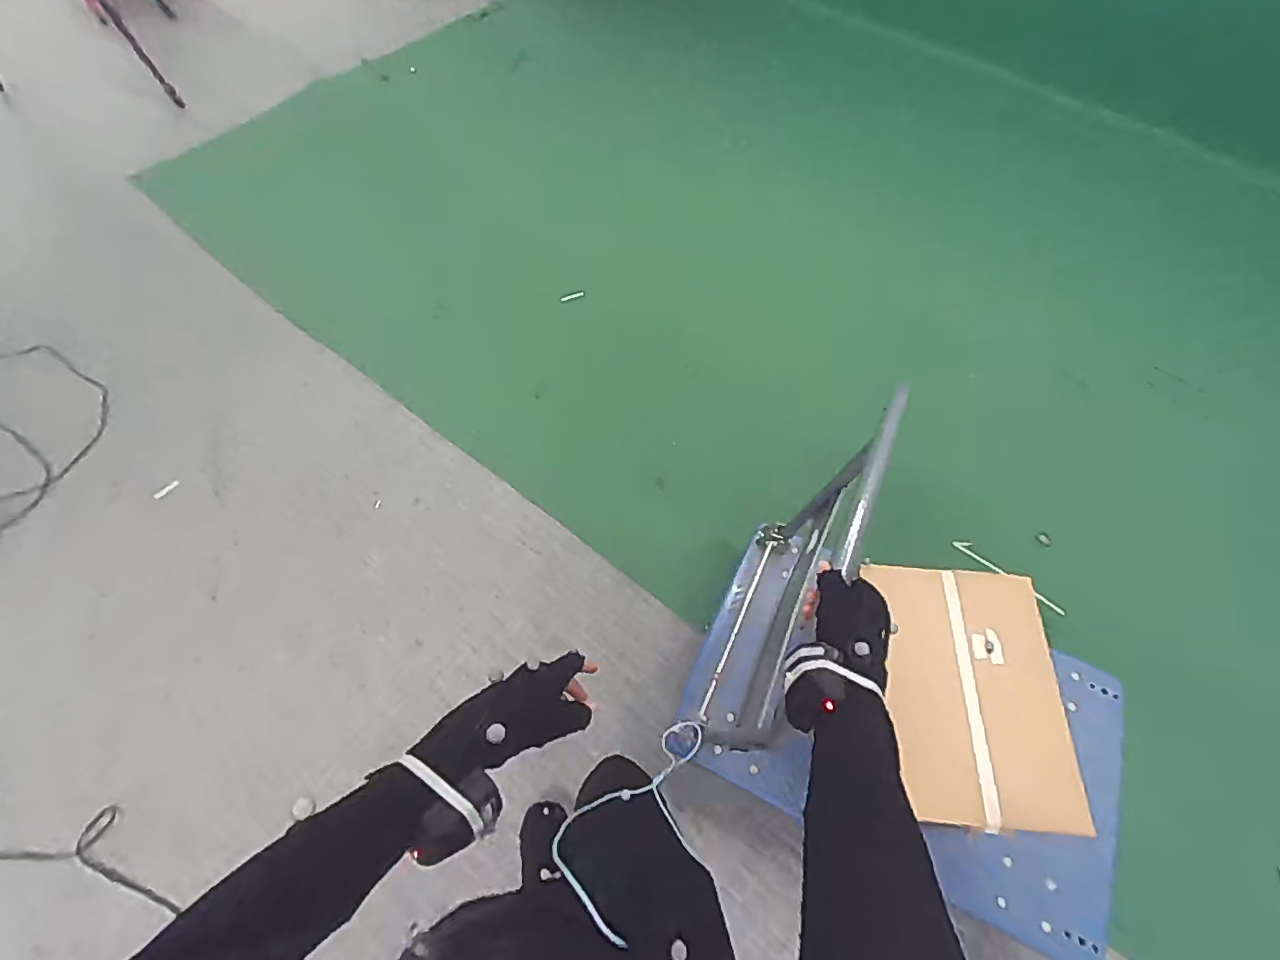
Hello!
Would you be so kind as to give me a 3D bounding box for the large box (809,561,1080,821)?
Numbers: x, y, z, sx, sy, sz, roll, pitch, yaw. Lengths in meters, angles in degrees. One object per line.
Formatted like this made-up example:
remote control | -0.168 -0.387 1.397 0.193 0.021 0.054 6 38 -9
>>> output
large box | 0.529 0.407 1.044 0.320 0.320 0.408 5 61 2
